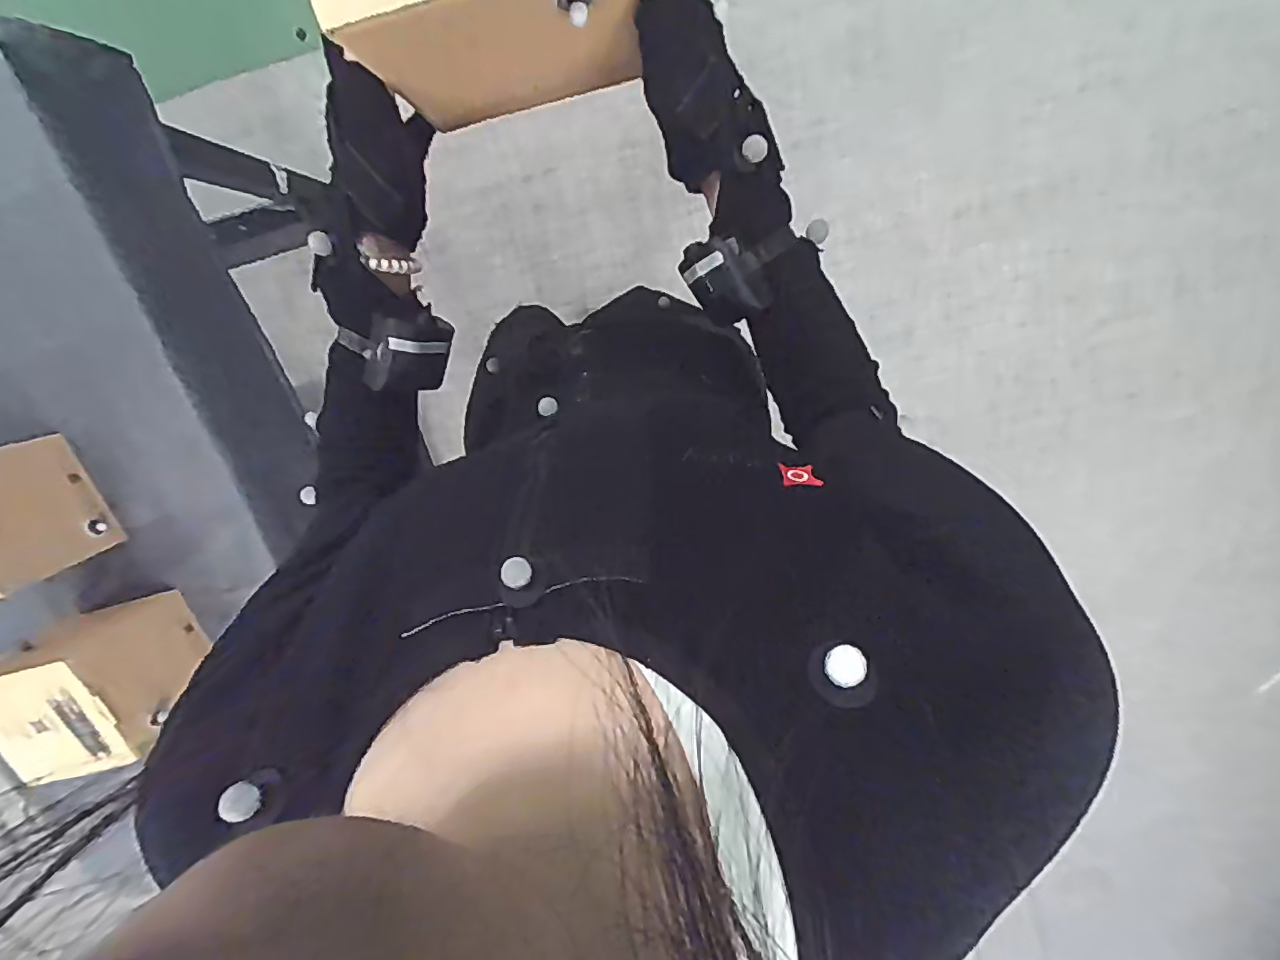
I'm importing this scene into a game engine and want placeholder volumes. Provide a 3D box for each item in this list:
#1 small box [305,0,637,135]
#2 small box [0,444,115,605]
[{"bbox_3d":[-0.103,-0.347,0.336,0.179,0.176,0.168,-13,106,4],"label":"small box"},{"bbox_3d":[-0.841,0.065,0.692,0.179,0.176,0.168,-15,107,6],"label":"small box"}]
